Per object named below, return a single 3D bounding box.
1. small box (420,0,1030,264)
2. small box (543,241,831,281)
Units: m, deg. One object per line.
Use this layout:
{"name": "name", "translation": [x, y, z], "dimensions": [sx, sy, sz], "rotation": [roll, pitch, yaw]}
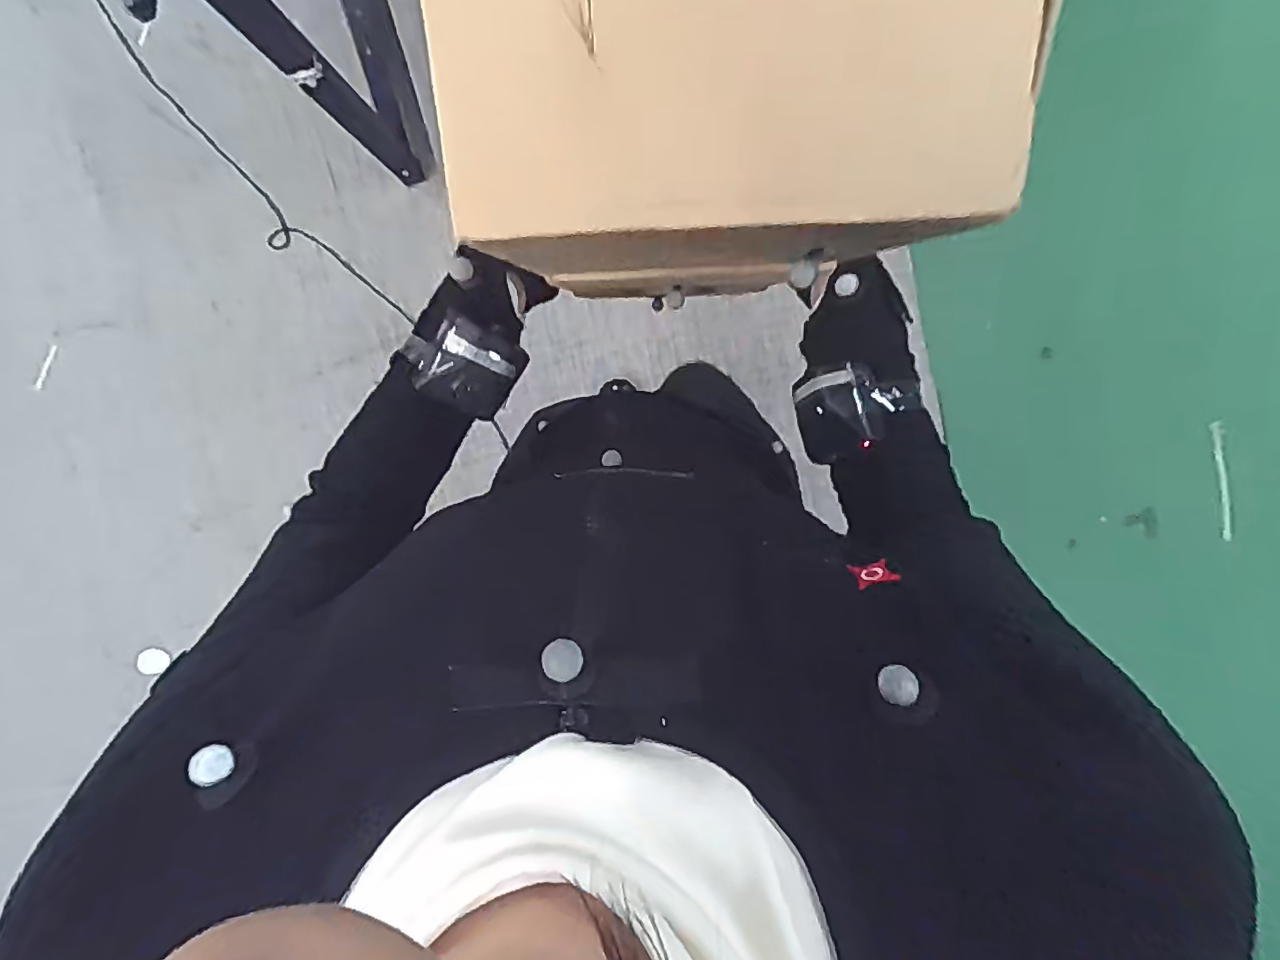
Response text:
{"name": "small box", "translation": [0.022, -0.186, 0.221], "dimensions": [0.179, 0.176, 0.168], "rotation": [-3, 107, 1]}
{"name": "small box", "translation": [0.024, -0.232, 0.376], "dimensions": [0.179, 0.176, 0.168], "rotation": [-2, 107, -1]}
